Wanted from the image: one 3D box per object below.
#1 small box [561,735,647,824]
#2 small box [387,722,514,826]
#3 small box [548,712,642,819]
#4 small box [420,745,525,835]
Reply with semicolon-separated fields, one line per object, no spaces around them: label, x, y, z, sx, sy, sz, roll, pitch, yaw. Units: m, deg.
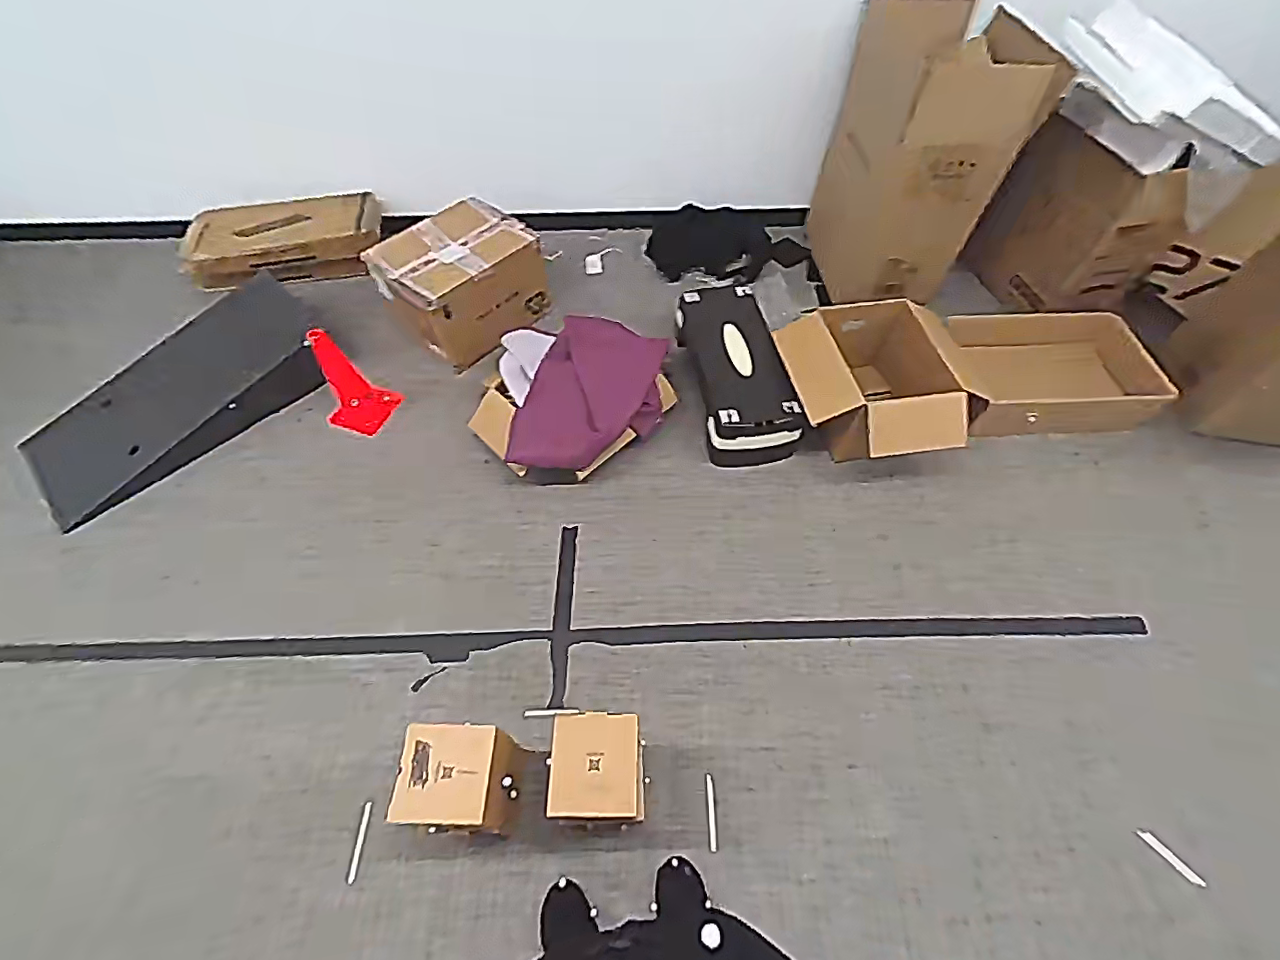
small box;-0.076;0.670;1.209;0.179;0.176;0.168;-2;57;-1
small box;-0.362;0.585;1.070;0.179;0.176;0.168;1;57;1
small box;-0.082;0.572;1.079;0.168;0.176;0.179;-1;58;1
small box;-0.362;0.681;1.205;0.168;0.176;0.179;1;58;2
